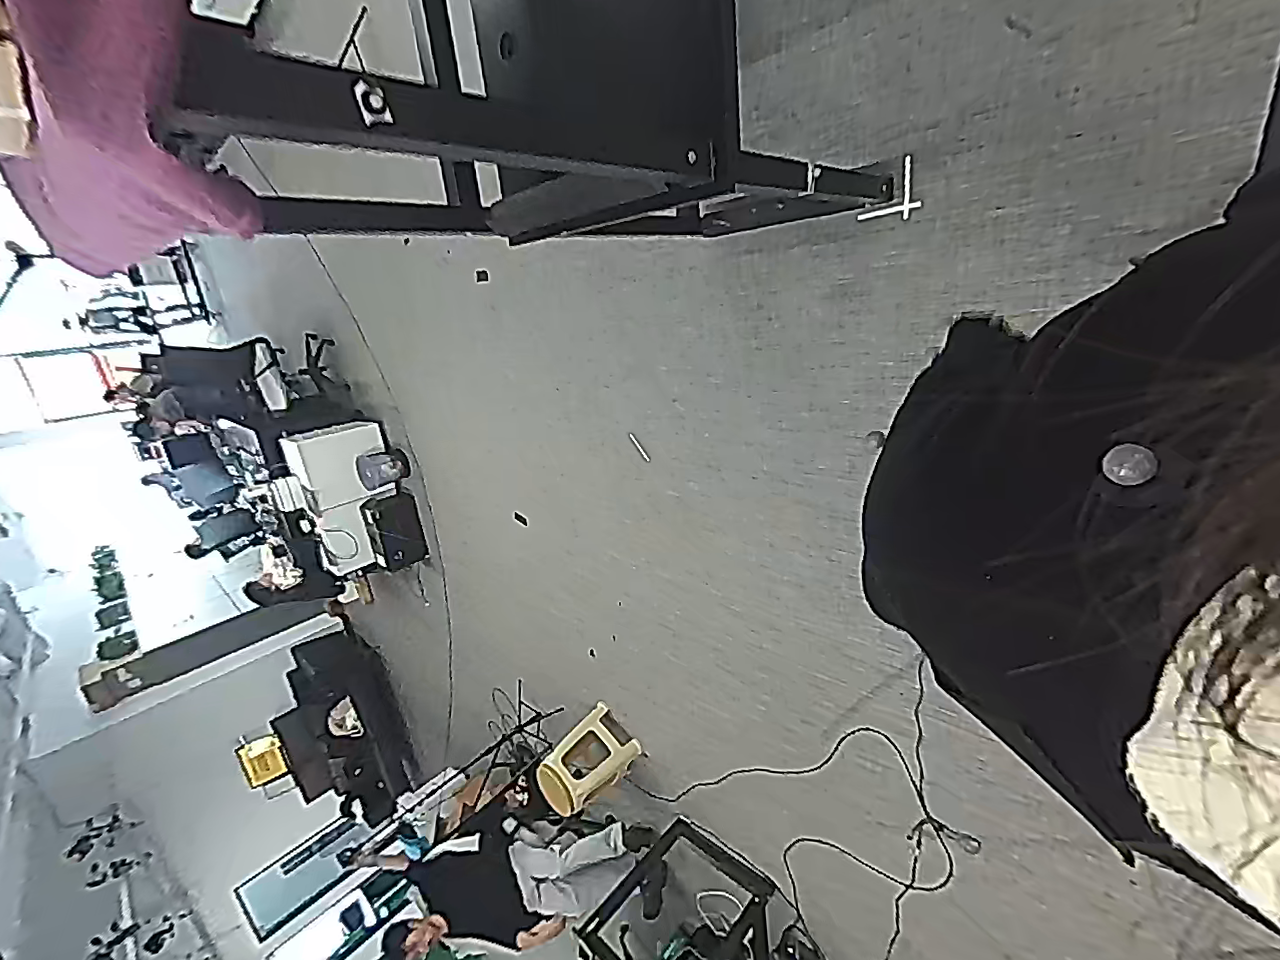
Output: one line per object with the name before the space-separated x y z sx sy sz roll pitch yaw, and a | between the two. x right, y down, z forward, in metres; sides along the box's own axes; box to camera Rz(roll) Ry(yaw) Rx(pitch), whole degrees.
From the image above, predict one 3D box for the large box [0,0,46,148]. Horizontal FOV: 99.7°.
large box | -0.639 -0.458 0.295 0.320 0.320 0.408 12 117 43
